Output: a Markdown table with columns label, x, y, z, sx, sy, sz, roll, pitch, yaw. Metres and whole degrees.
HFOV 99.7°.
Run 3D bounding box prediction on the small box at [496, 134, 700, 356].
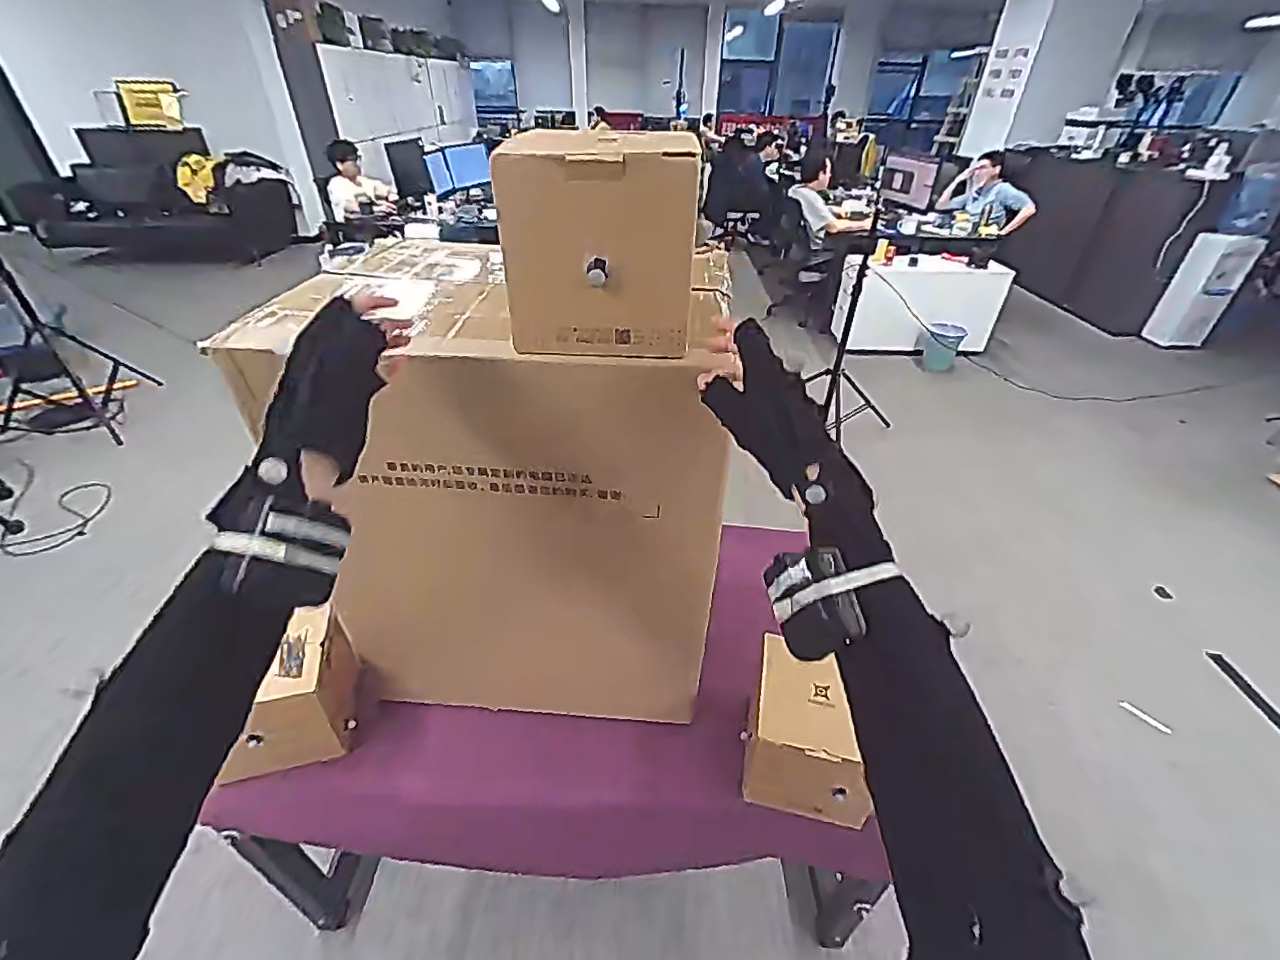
| label | x | y | z | sx | sy | sz | roll | pitch | yaw |
| --- | --- | --- | --- | --- | --- | --- | --- | --- | --- |
| small box | -0.029 | -0.233 | 0.534 | 0.168 | 0.176 | 0.179 | 2 | 38 | 1 |

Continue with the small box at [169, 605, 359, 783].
| label | x | y | z | sx | sy | sz | roll | pitch | yaw |
| --- | --- | --- | --- | --- | --- | --- | --- | --- | --- |
| small box | -0.540 | 0.318 | 0.813 | 0.179 | 0.176 | 0.168 | -8 | 36 | -15 |

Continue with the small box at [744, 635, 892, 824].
| label | x | y | z | sx | sy | sz | roll | pitch | yaw |
| --- | --- | --- | --- | --- | --- | --- | --- | --- | --- |
| small box | 0.247 | 0.360 | 0.786 | 0.168 | 0.176 | 0.179 | 9 | 35 | 10 |
